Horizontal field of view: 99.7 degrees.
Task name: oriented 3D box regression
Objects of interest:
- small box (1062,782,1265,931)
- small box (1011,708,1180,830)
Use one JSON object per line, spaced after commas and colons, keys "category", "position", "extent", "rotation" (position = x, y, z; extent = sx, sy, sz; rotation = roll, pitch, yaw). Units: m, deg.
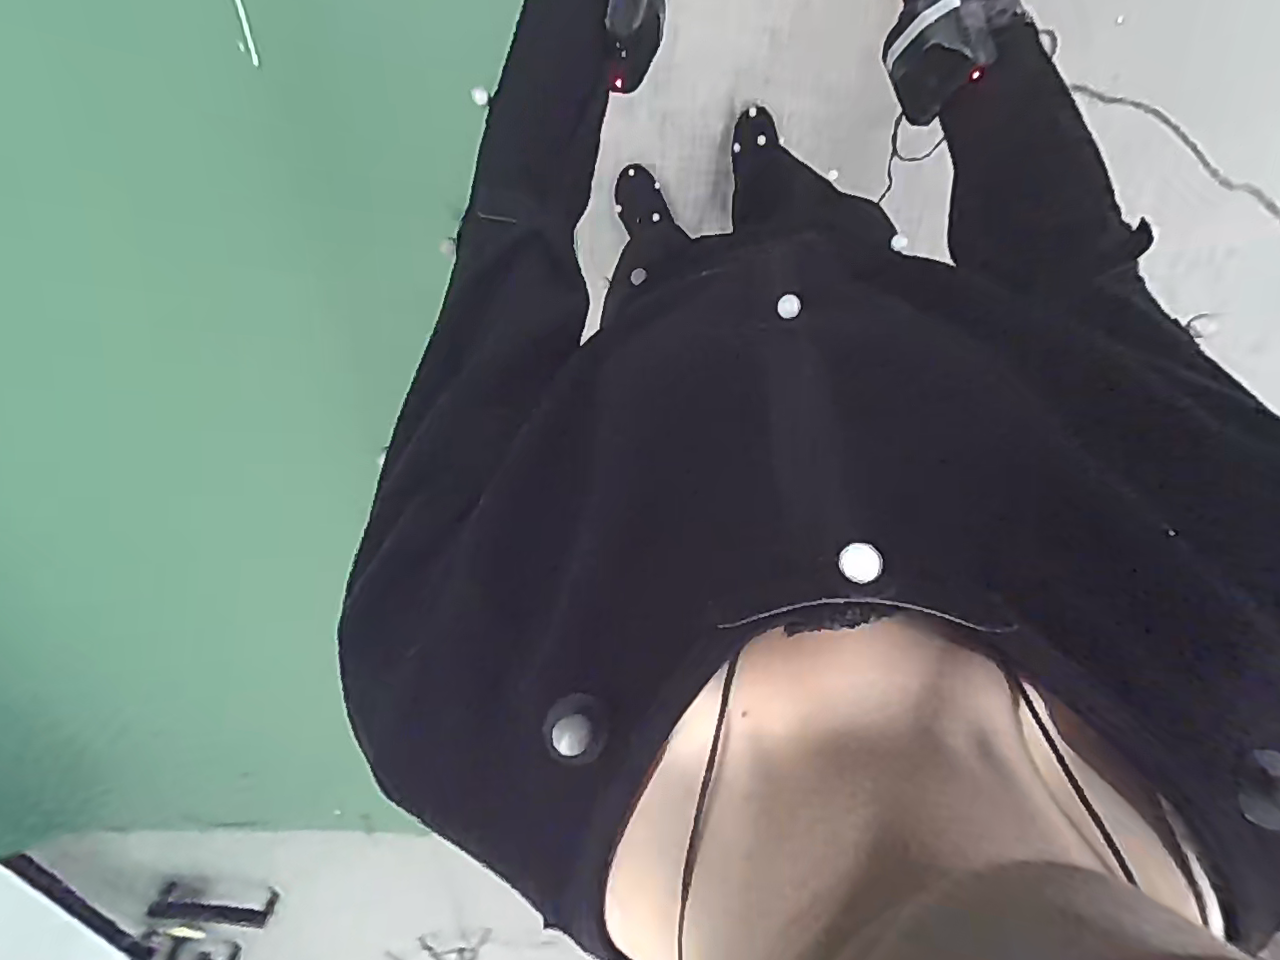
{"category": "small box", "position": [0.920, 0.673, 0.976], "extent": [0.179, 0.176, 0.168], "rotation": [-4, 121, 1]}
{"category": "small box", "position": [0.923, 0.592, 1.115], "extent": [0.179, 0.176, 0.168], "rotation": [-2, 121, 1]}
